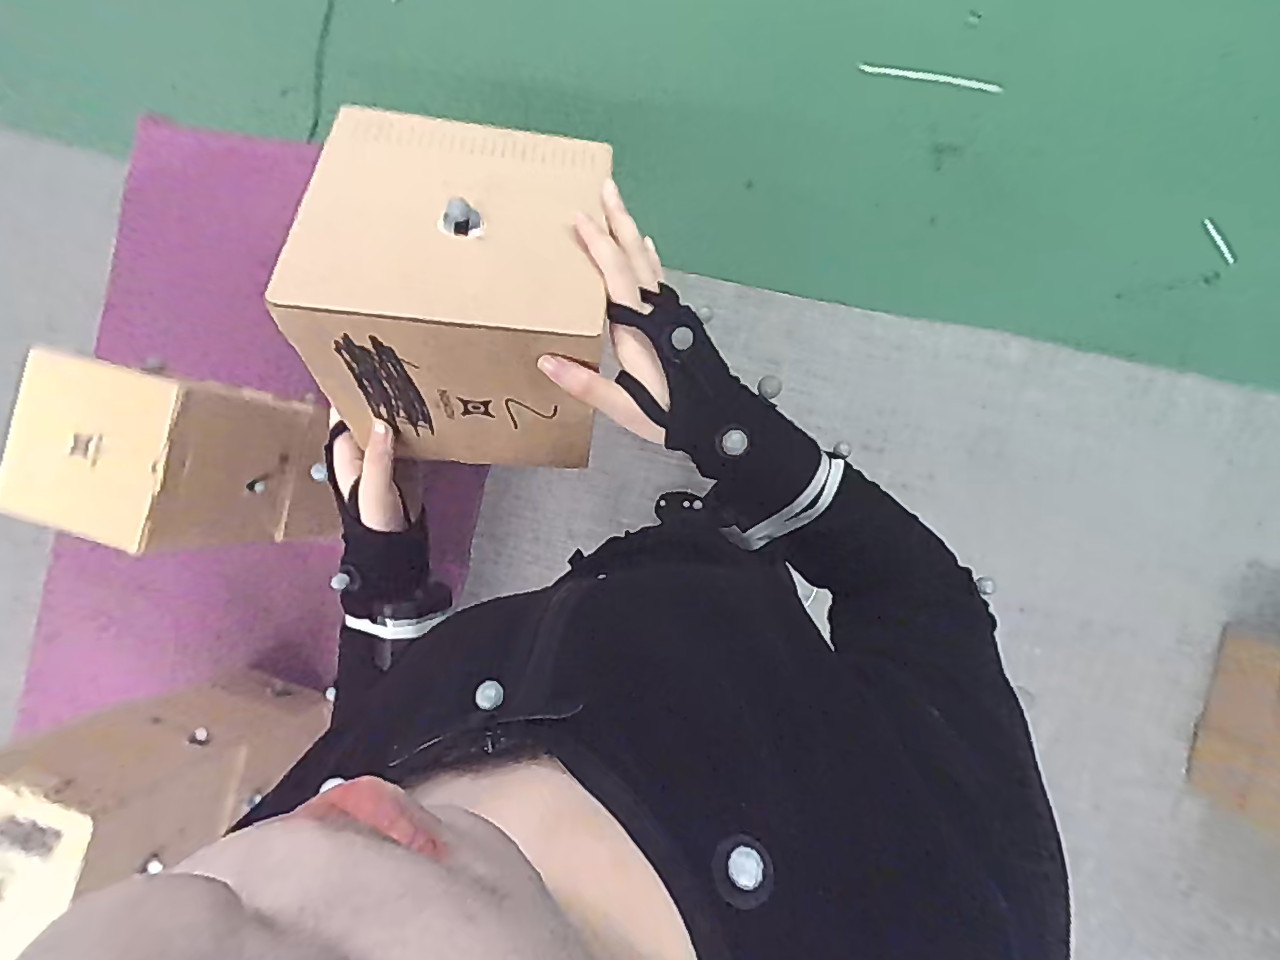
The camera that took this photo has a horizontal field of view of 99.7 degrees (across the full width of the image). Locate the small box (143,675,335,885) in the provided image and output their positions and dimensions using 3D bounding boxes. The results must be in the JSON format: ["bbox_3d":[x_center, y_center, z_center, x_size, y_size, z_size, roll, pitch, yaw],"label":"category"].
[{"bbox_3d":[-0.565,0.401,0.756,0.168,0.176,0.179,14,89,7],"label":"small box"}]

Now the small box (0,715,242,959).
[{"bbox_3d":[-0.587,0.388,0.594,0.168,0.176,0.179,13,90,7],"label":"small box"}]

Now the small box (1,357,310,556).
[{"bbox_3d":[-0.519,-0.021,0.604,0.179,0.176,0.168,13,90,6],"label":"small box"}]

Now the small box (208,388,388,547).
[{"bbox_3d":[-0.489,-0.013,0.765,0.168,0.176,0.179,13,89,8],"label":"small box"}]
